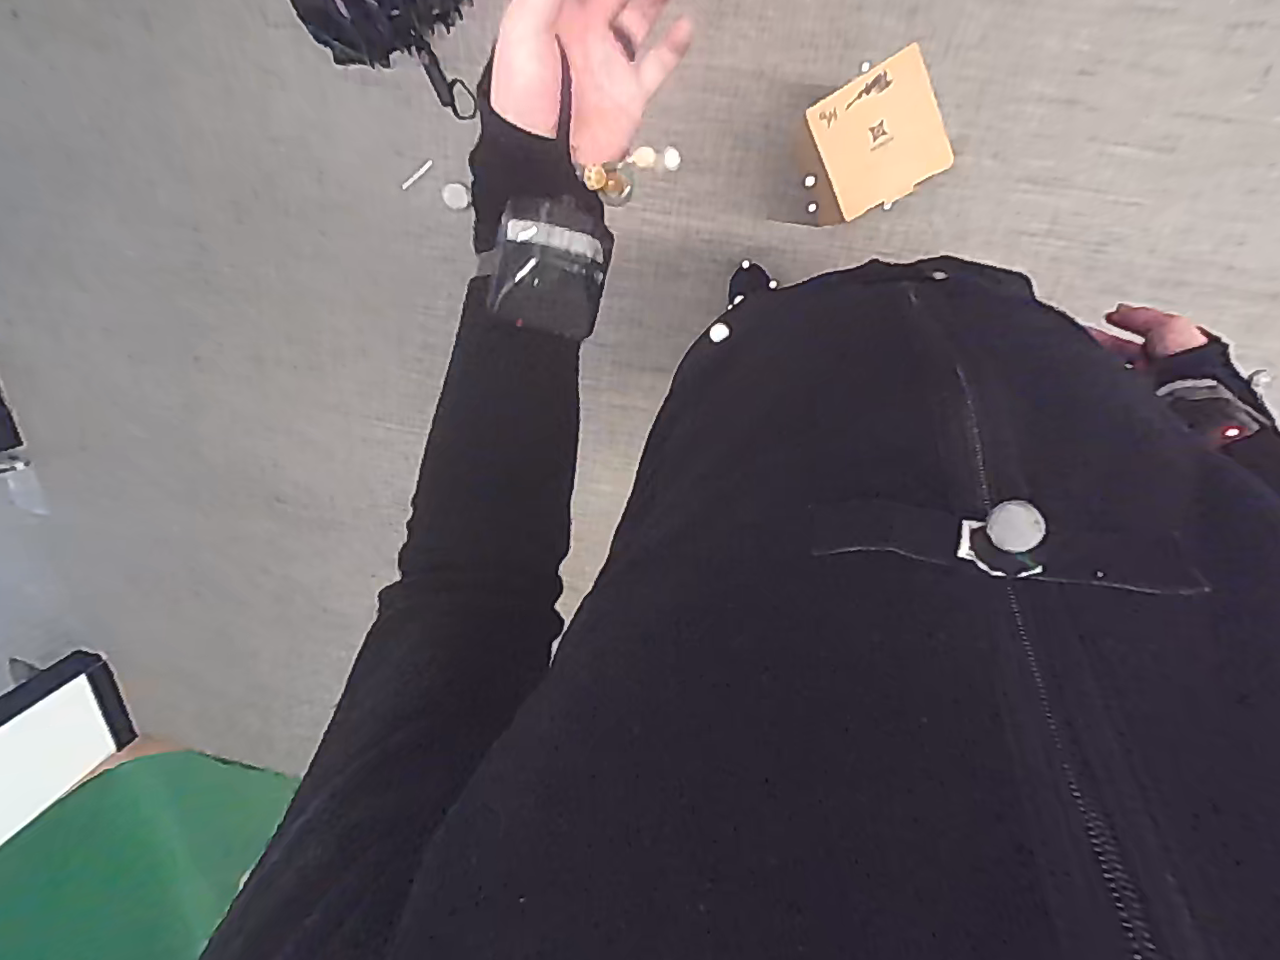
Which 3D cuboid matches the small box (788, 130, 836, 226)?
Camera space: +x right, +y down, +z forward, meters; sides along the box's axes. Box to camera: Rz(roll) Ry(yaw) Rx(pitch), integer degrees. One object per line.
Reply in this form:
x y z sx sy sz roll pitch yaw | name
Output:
0.395 -0.608 1.031 0.168 0.176 0.179 -24 105 19 | small box

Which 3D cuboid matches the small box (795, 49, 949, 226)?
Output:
0.368 -0.541 0.882 0.168 0.176 0.179 -24 109 19 | small box
